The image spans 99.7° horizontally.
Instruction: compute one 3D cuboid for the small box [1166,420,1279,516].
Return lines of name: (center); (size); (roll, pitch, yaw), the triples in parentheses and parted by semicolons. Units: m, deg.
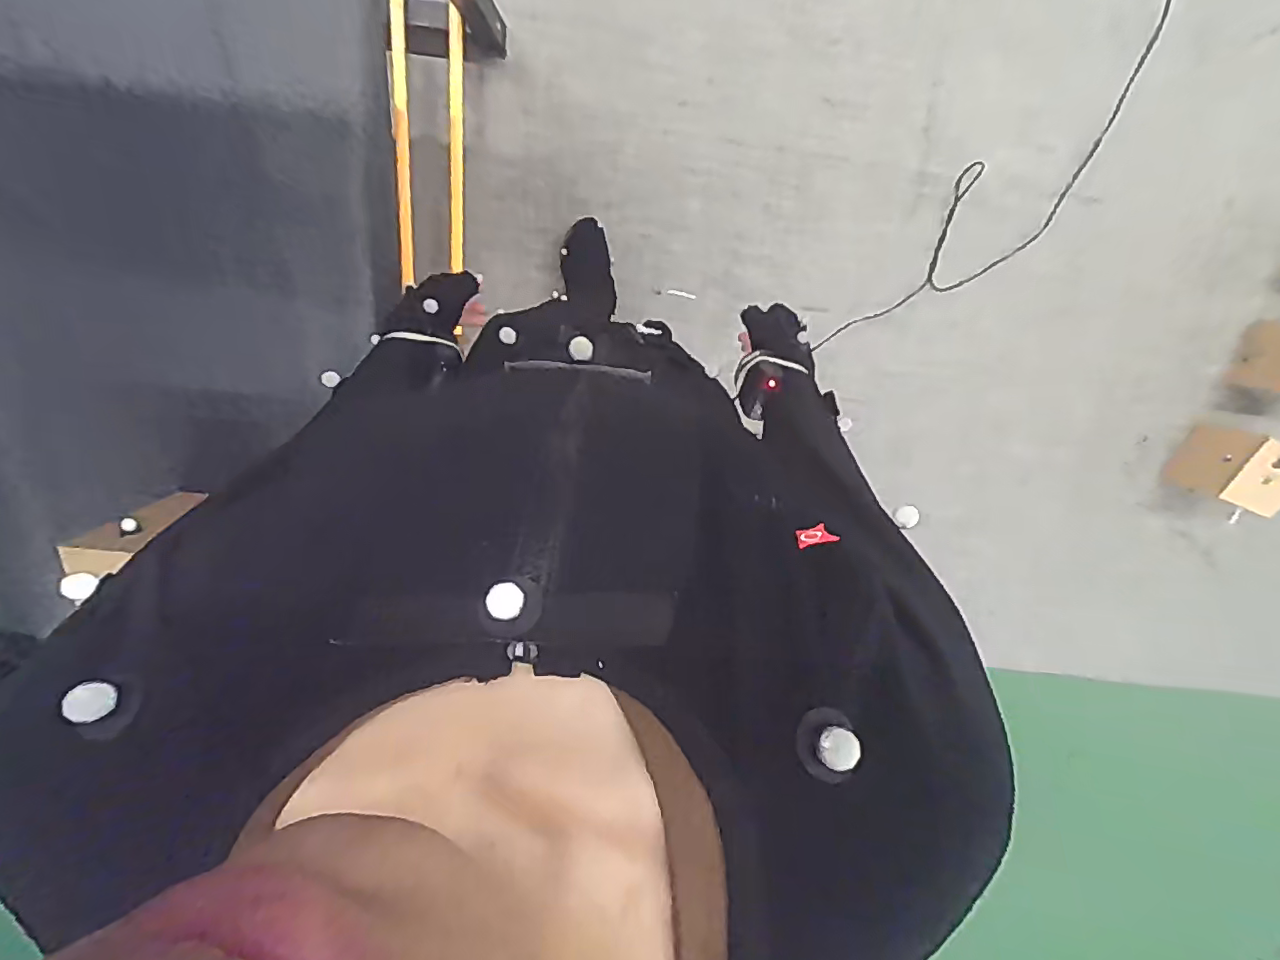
small box: (1.556, -0.038, 1.411); (0.168, 0.176, 0.179); (21, 110, -7)
